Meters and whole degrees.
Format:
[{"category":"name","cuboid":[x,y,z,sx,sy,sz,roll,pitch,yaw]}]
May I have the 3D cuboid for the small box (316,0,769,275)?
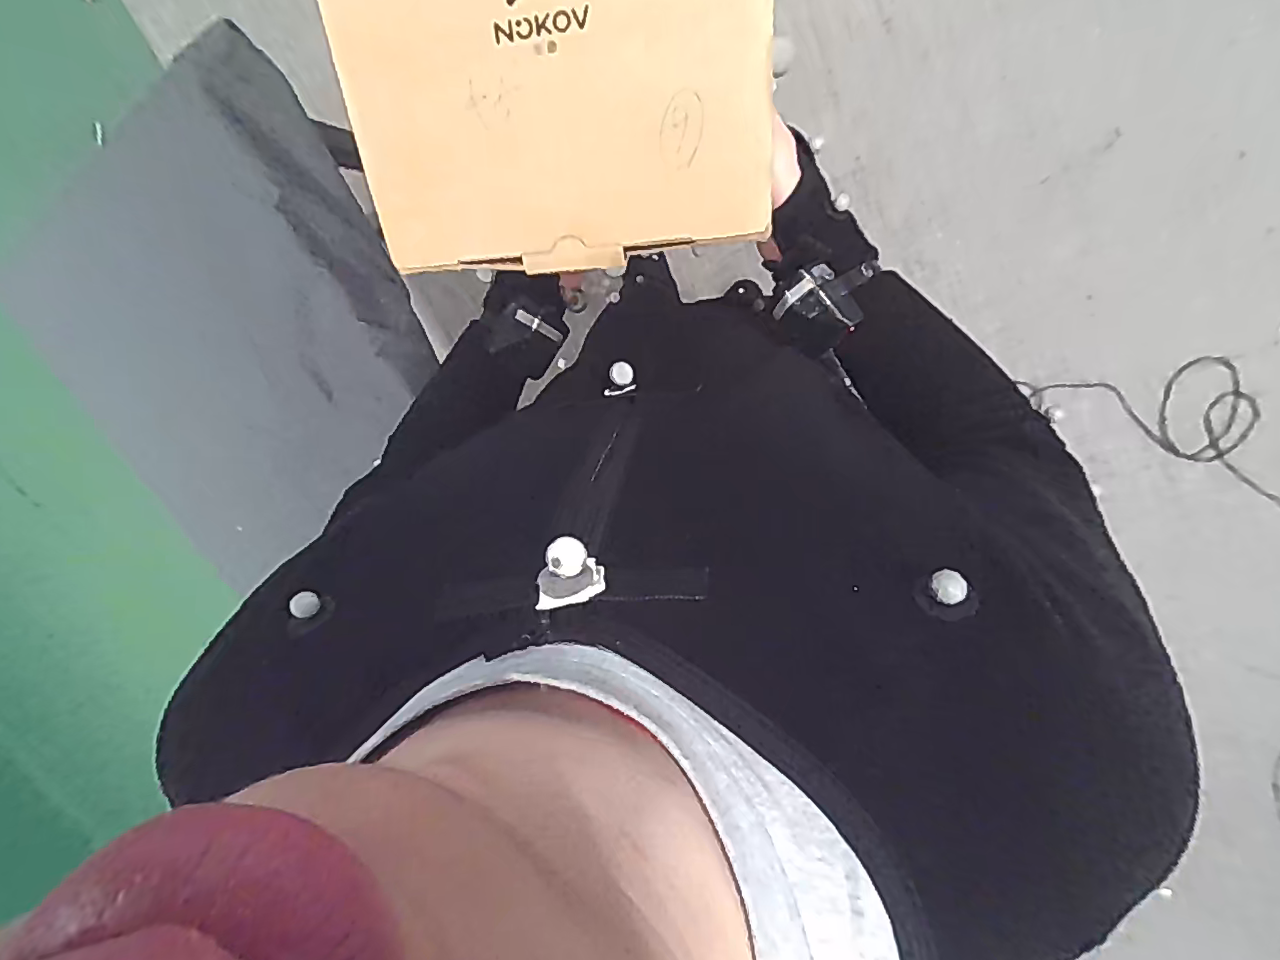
[{"category":"small box","cuboid":[-0.024,-0.207,0.258,0.168,0.176,0.179,-1,118,10]}]
